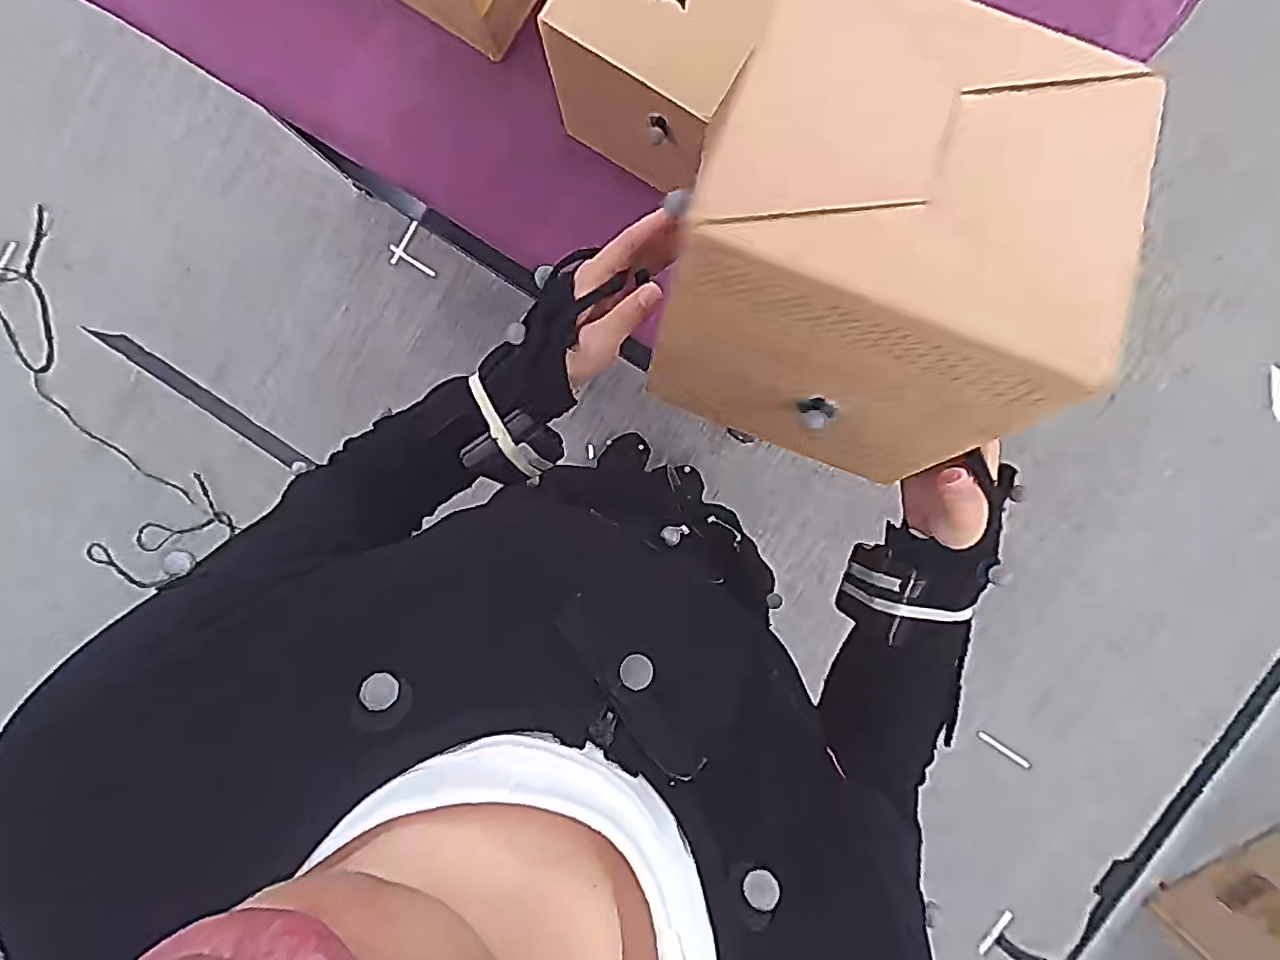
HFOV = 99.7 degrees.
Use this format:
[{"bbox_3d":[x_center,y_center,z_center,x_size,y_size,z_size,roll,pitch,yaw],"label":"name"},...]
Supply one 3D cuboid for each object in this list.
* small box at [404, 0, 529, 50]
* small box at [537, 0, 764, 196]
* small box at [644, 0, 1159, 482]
[{"bbox_3d":[-0.193,-0.590,0.540,0.179,0.176,0.168,33,94,1],"label":"small box"},{"bbox_3d":[0.029,-0.420,0.537,0.179,0.176,0.168,32,92,0],"label":"small box"},{"bbox_3d":[0.113,-0.120,0.296,0.179,0.176,0.168,22,78,4],"label":"small box"}]
